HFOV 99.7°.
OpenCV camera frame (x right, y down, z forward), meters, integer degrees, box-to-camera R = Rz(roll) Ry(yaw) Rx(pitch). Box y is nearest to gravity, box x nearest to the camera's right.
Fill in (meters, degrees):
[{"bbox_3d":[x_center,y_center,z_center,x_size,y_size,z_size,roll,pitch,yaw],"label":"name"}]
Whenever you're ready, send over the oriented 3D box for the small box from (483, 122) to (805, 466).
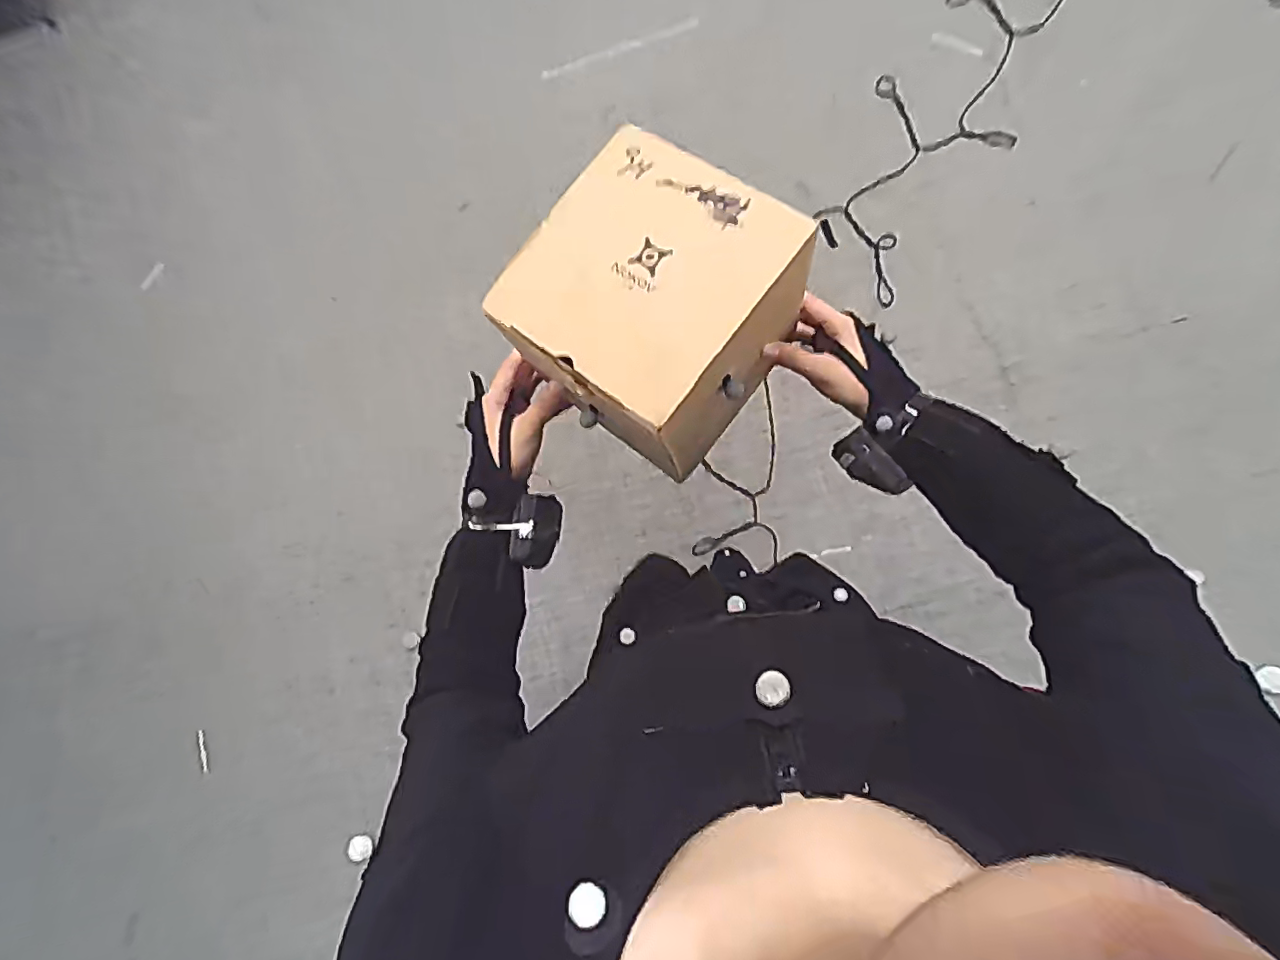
[{"bbox_3d":[0.013,-0.133,0.449,0.168,0.176,0.179,37,87,15],"label":"small box"}]
